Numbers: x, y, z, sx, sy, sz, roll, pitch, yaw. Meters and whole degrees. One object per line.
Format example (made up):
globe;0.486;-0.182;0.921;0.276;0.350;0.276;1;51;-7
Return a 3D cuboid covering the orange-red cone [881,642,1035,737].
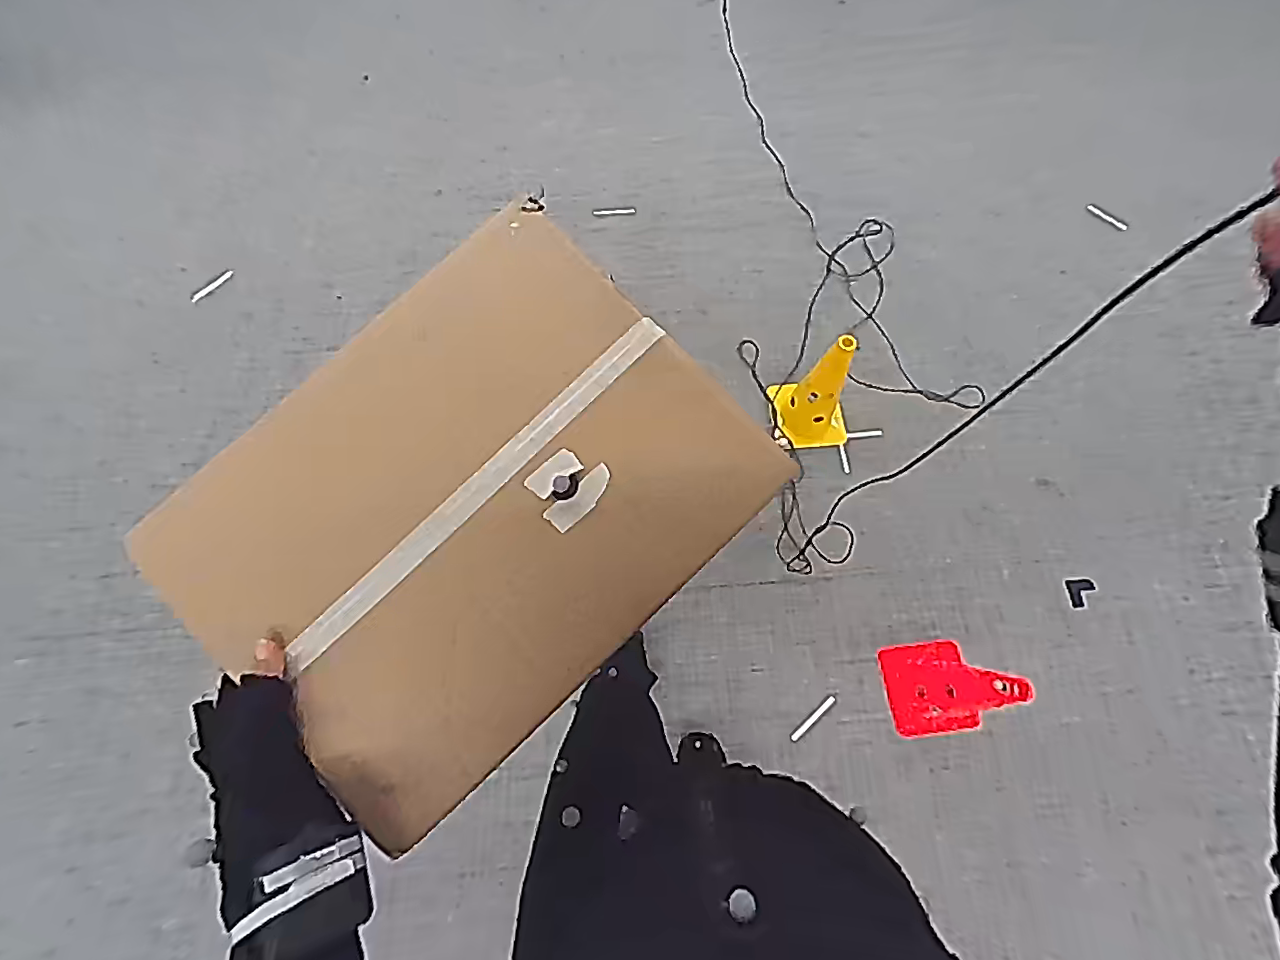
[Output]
orange-red cone;0.678;0.430;1.115;0.198;0.360;0.199;-6;68;-2

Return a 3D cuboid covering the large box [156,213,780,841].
large box;-0.133;0.039;0.567;0.408;0.320;0.320;-43;85;-5
